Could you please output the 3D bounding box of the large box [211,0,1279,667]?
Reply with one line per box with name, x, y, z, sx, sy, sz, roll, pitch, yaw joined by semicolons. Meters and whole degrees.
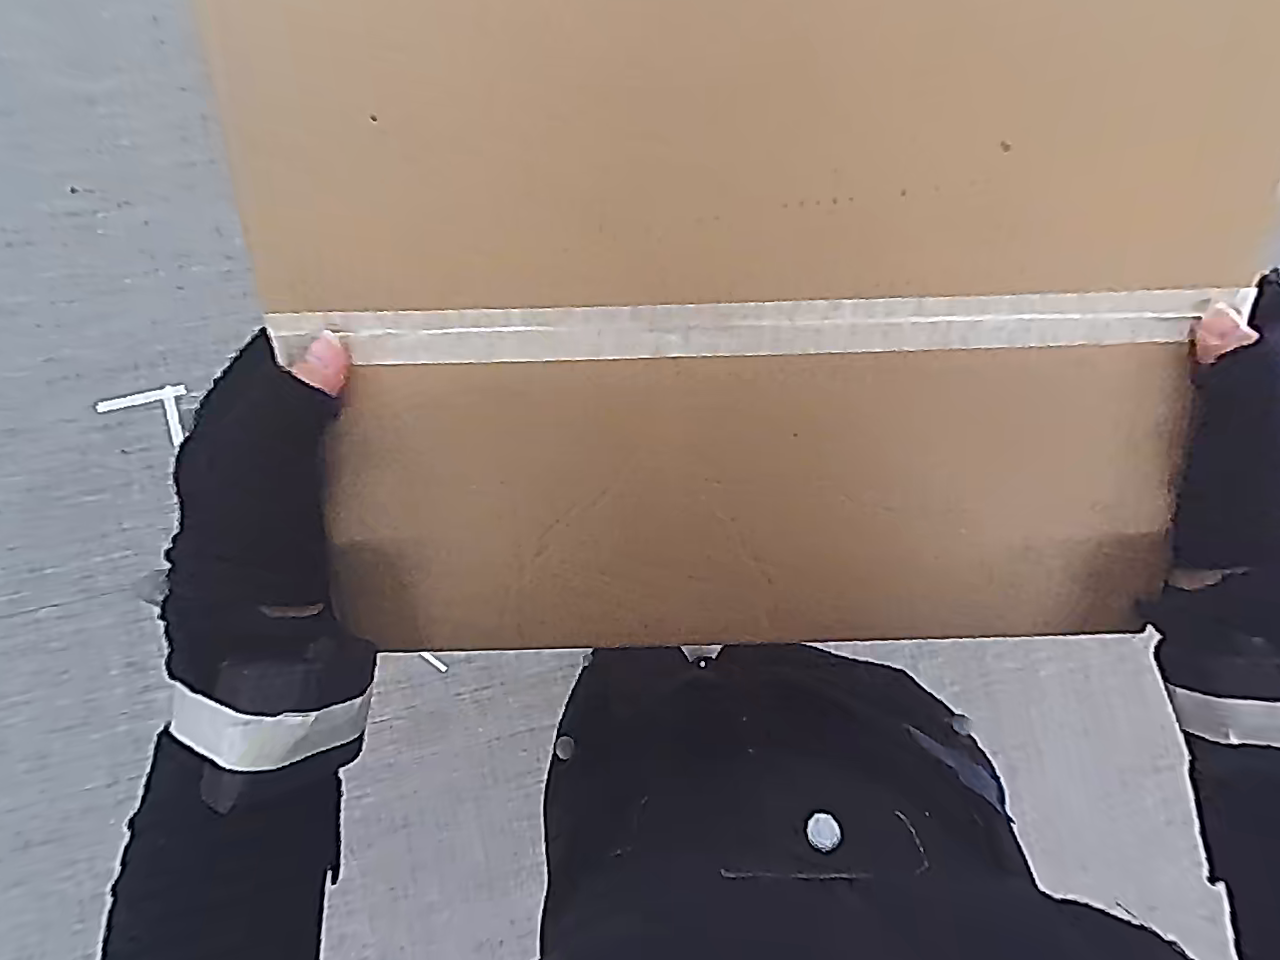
large box;0.050;-0.103;0.378;0.408;0.320;0.320;-2;109;0
